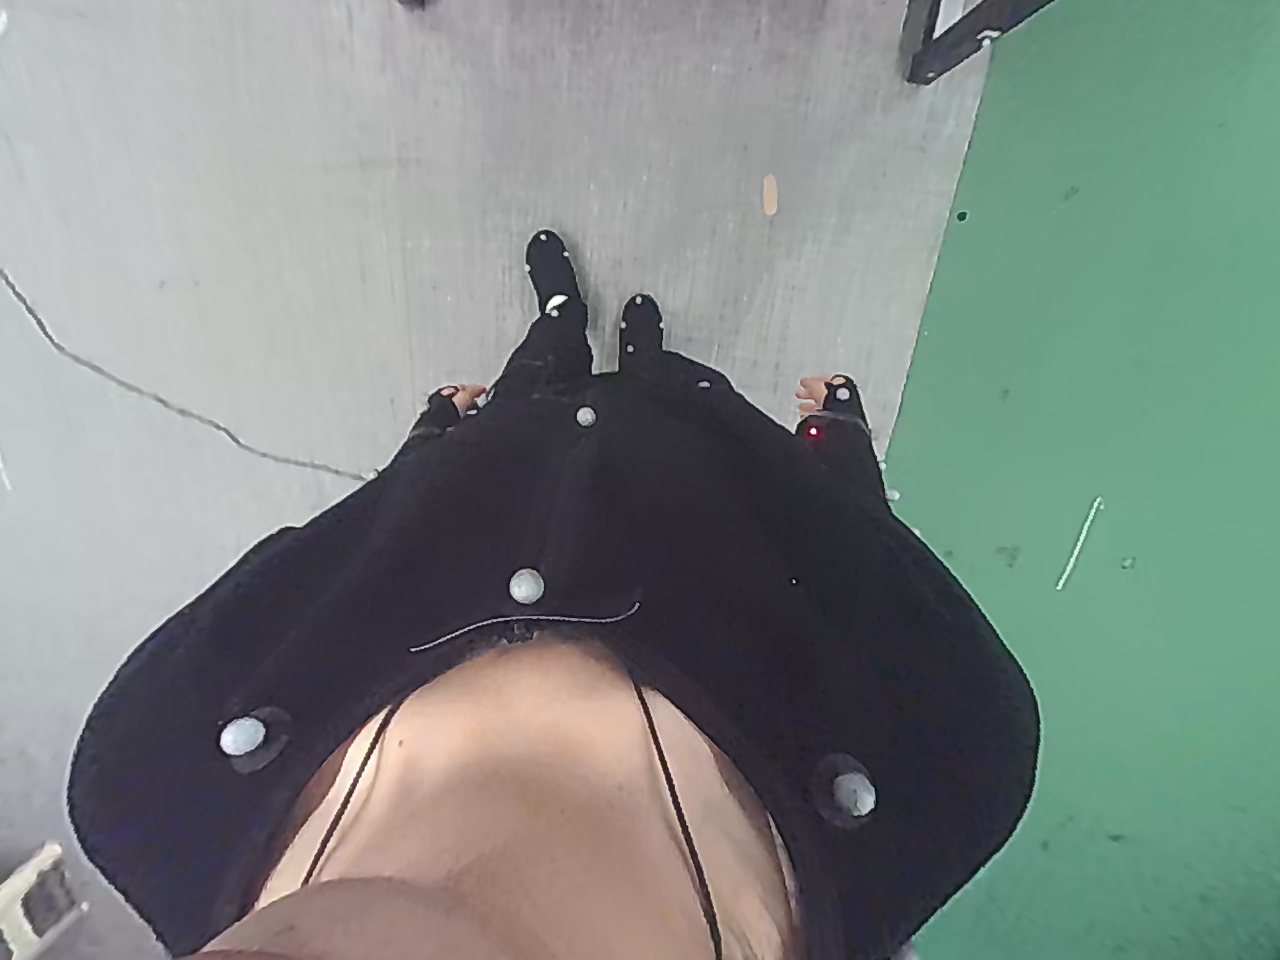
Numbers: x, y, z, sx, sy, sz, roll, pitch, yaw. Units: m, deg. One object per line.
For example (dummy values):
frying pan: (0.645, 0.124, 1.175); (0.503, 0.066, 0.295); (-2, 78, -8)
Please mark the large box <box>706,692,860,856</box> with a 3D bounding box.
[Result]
large box: (0.444, 0.929, 1.734); (0.408, 0.320, 0.320); (-8, 110, 2)
